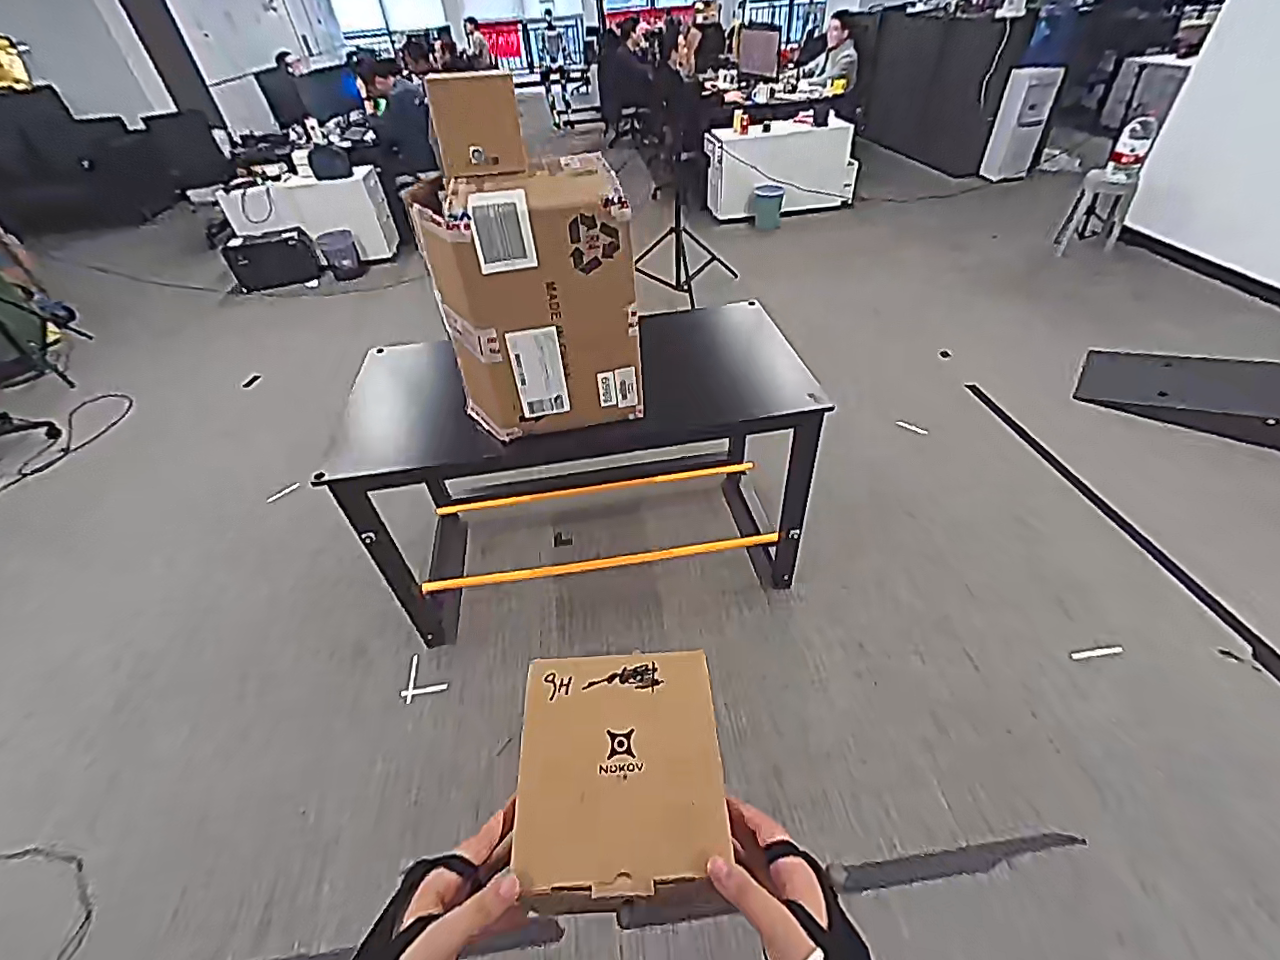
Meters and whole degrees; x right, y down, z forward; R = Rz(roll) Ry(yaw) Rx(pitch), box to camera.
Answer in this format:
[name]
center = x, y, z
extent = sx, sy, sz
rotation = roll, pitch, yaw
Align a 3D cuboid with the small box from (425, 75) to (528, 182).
[small box]
center = -0.334, -0.730, 1.123
extent = 0.168, 0.176, 0.179
rotation = -11, 40, -8
